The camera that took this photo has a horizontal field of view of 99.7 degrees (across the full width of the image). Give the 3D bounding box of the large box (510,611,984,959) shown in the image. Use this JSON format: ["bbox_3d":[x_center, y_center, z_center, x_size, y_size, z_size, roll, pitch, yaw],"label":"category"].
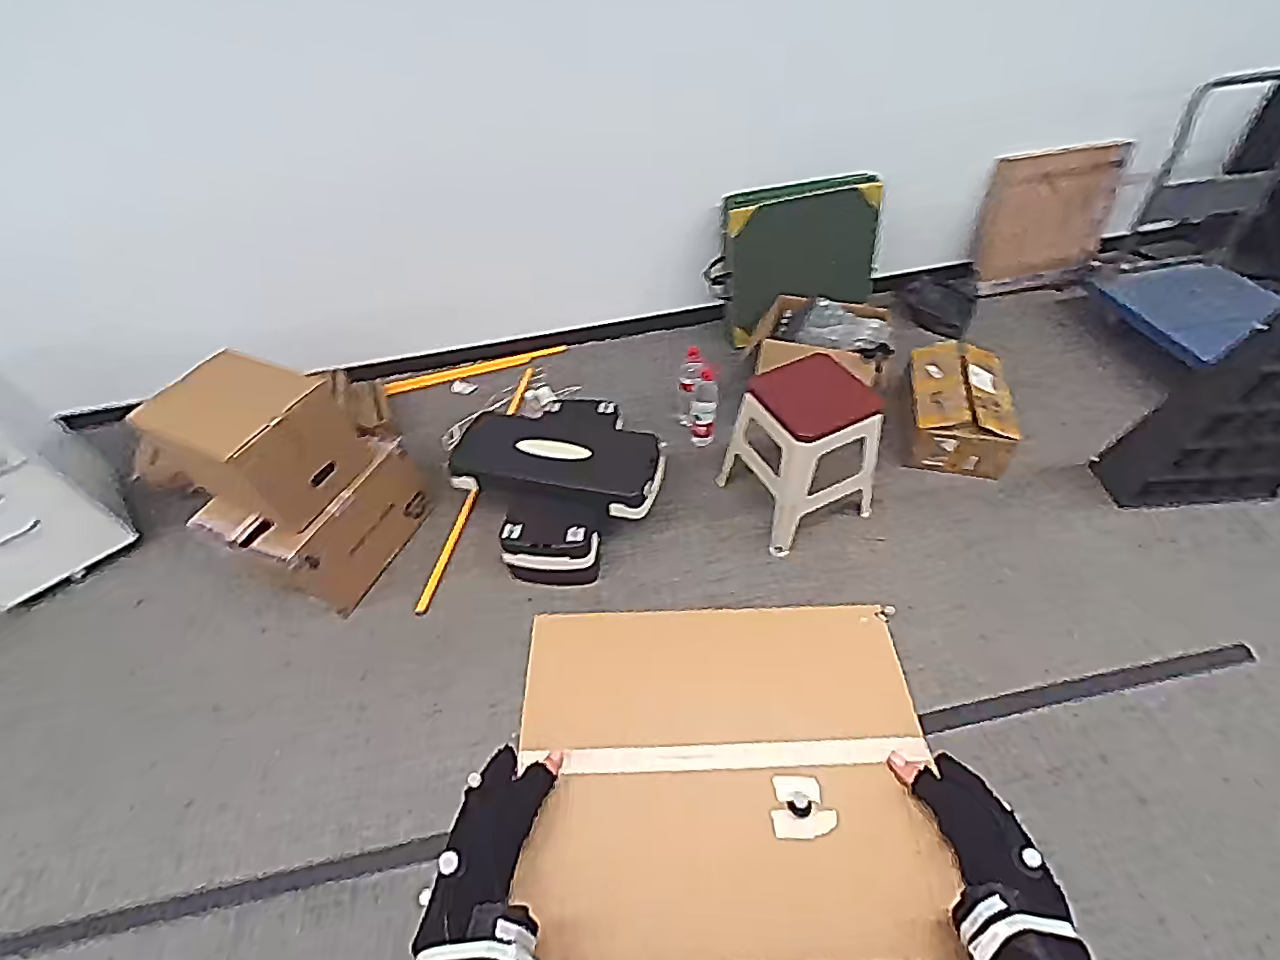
[{"bbox_3d":[0.087,0.373,0.654,0.408,0.320,0.320,-1,51,1],"label":"large box"}]
